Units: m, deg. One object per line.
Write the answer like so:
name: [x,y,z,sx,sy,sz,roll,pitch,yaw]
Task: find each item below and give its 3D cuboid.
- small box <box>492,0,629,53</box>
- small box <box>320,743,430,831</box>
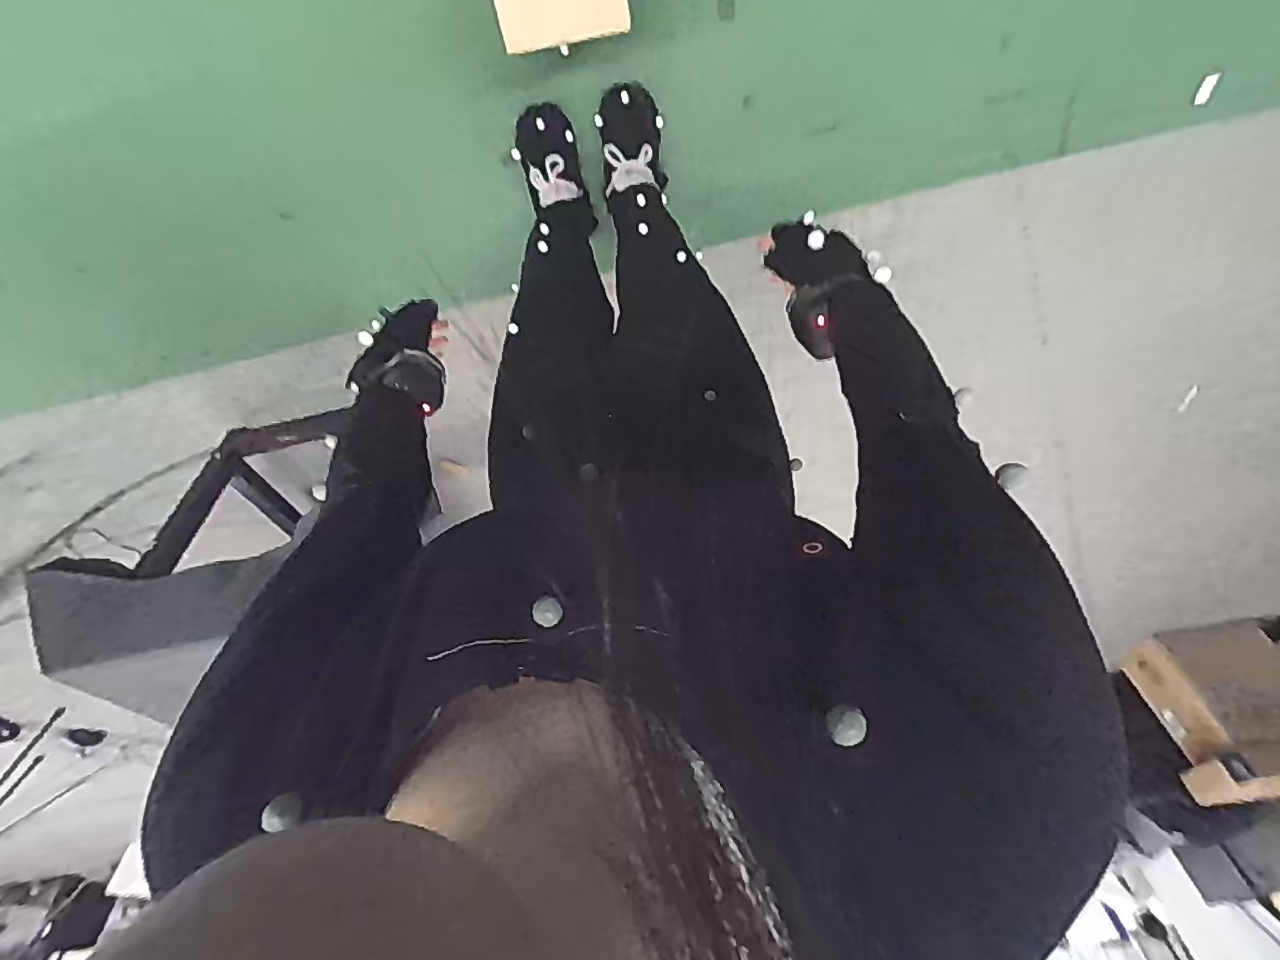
small box: [-0.115,-0.707,0.737,0.179,0.176,0.168,-9,135,2]
small box: [-0.667,0.796,1.385,0.179,0.176,0.168,-12,136,5]
